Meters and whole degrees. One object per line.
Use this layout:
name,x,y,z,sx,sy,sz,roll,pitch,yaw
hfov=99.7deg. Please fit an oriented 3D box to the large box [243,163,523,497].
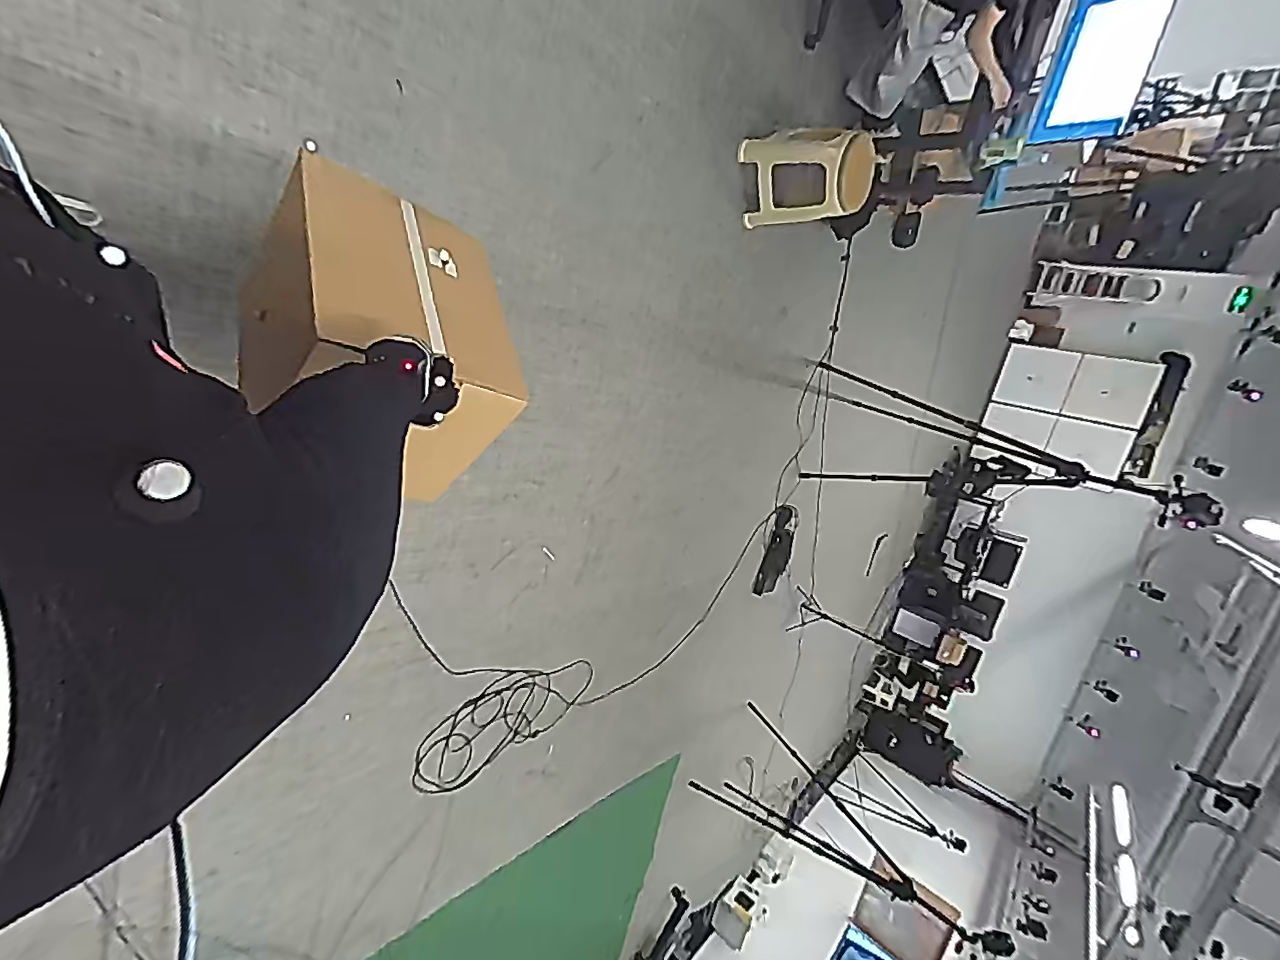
large box,-0.456,-0.224,0.928,0.320,0.408,0.320,-39,148,29
